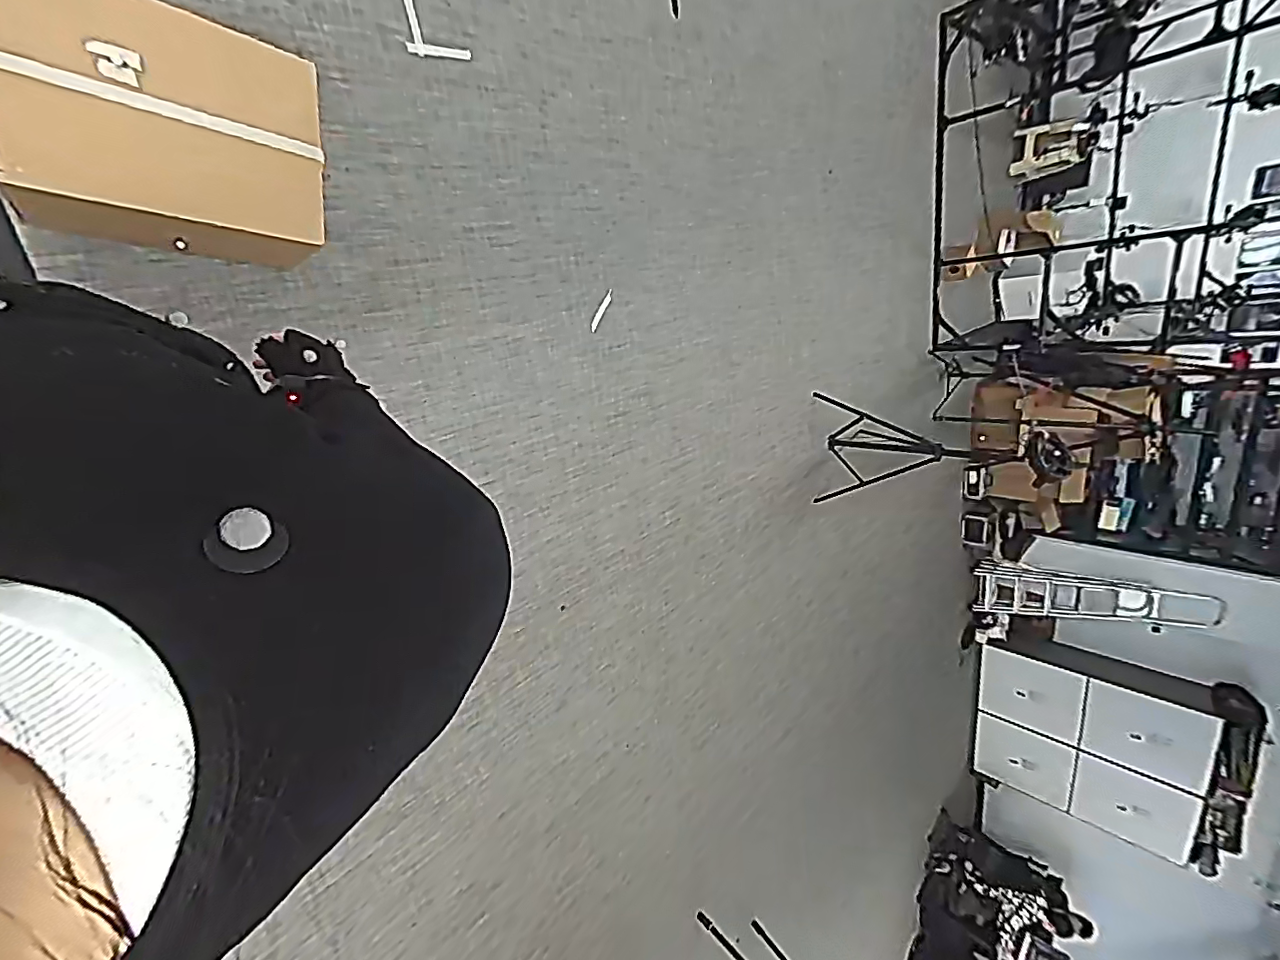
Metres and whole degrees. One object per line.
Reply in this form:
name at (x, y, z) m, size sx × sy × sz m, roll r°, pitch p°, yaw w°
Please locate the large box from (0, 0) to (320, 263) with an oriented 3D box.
large box at (-0.844, -0.601, 0.970) m, size 0.408 × 0.320 × 0.320 m, roll -6°, pitch 101°, yaw -42°
